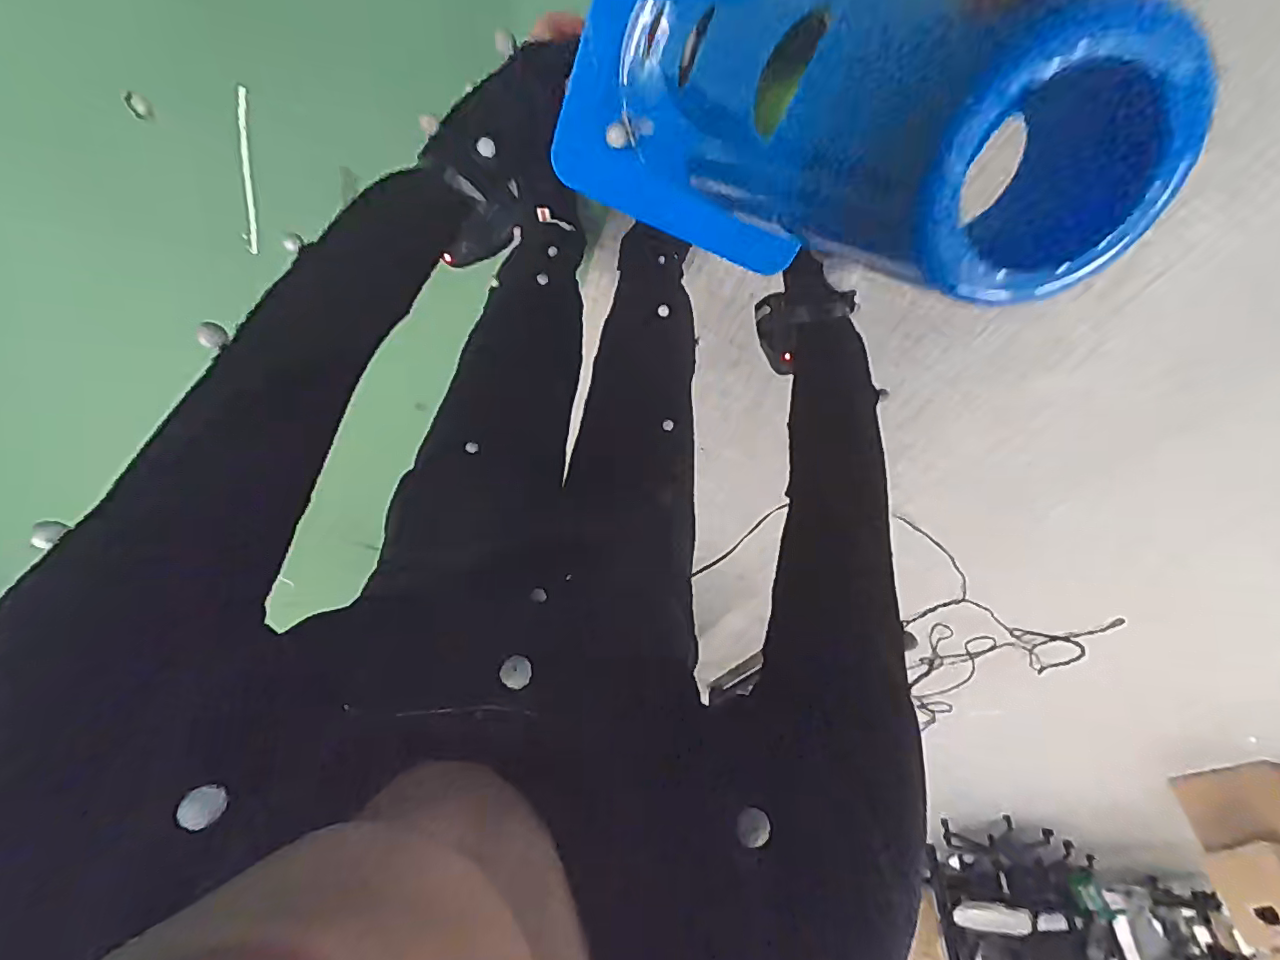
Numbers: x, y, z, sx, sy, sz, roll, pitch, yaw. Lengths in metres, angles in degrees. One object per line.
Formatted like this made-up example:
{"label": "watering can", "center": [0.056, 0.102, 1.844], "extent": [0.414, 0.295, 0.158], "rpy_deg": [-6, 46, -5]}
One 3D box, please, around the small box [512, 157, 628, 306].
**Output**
{"label": "small box", "center": [-0.137, -0.449, 0.985], "extent": [0.168, 0.176, 0.179], "rpy_deg": [1, 139, -22]}
